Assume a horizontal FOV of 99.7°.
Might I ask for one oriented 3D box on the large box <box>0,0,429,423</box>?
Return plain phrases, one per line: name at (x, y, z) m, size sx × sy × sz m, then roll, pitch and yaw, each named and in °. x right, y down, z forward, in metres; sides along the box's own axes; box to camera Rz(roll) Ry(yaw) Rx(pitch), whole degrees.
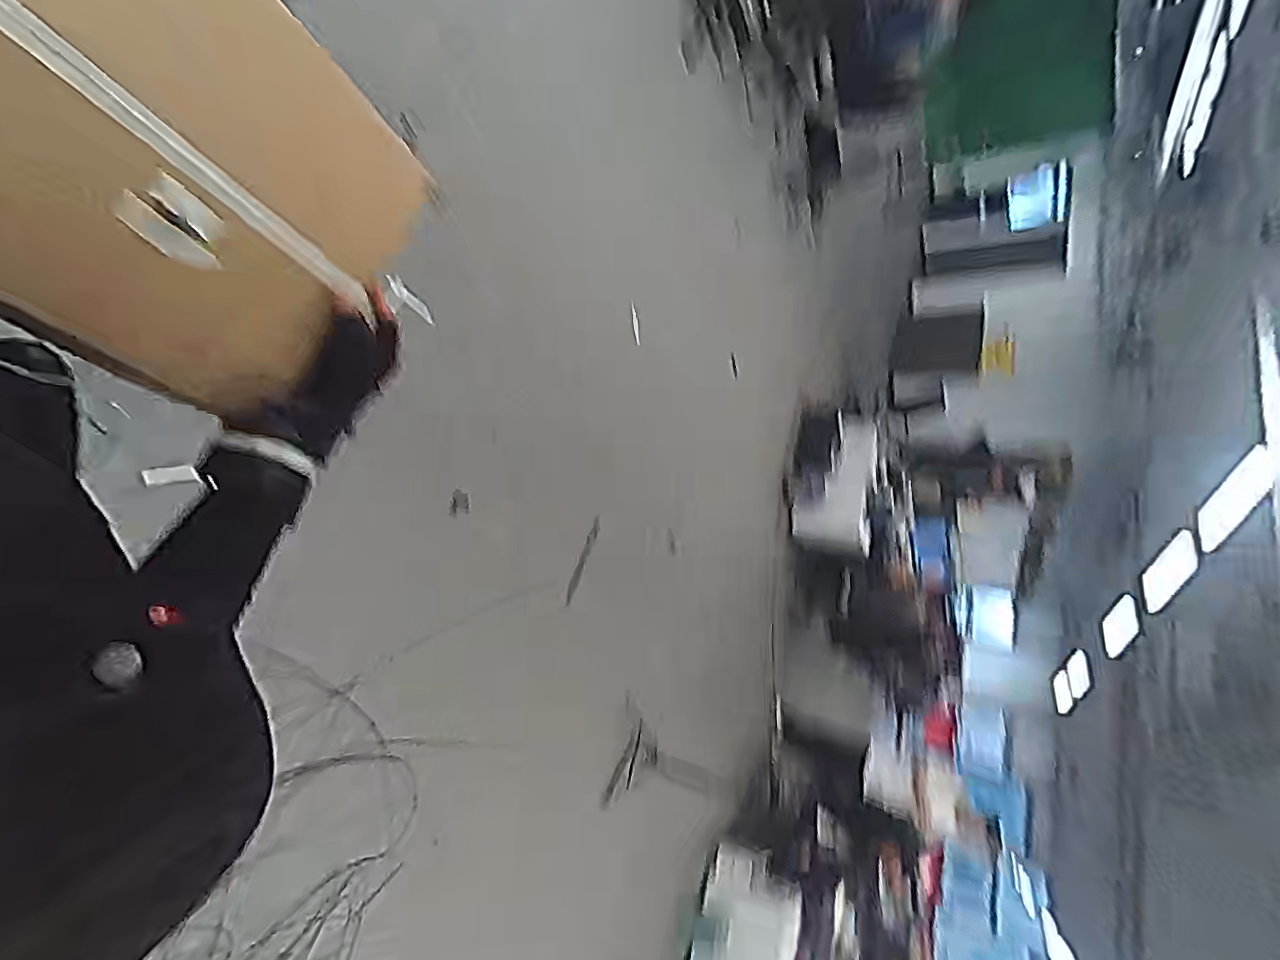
large box at (-0.495, -0.297, 0.474) m, size 0.408 × 0.320 × 0.320 m, roll 45°, pitch 65°, yaw -51°
